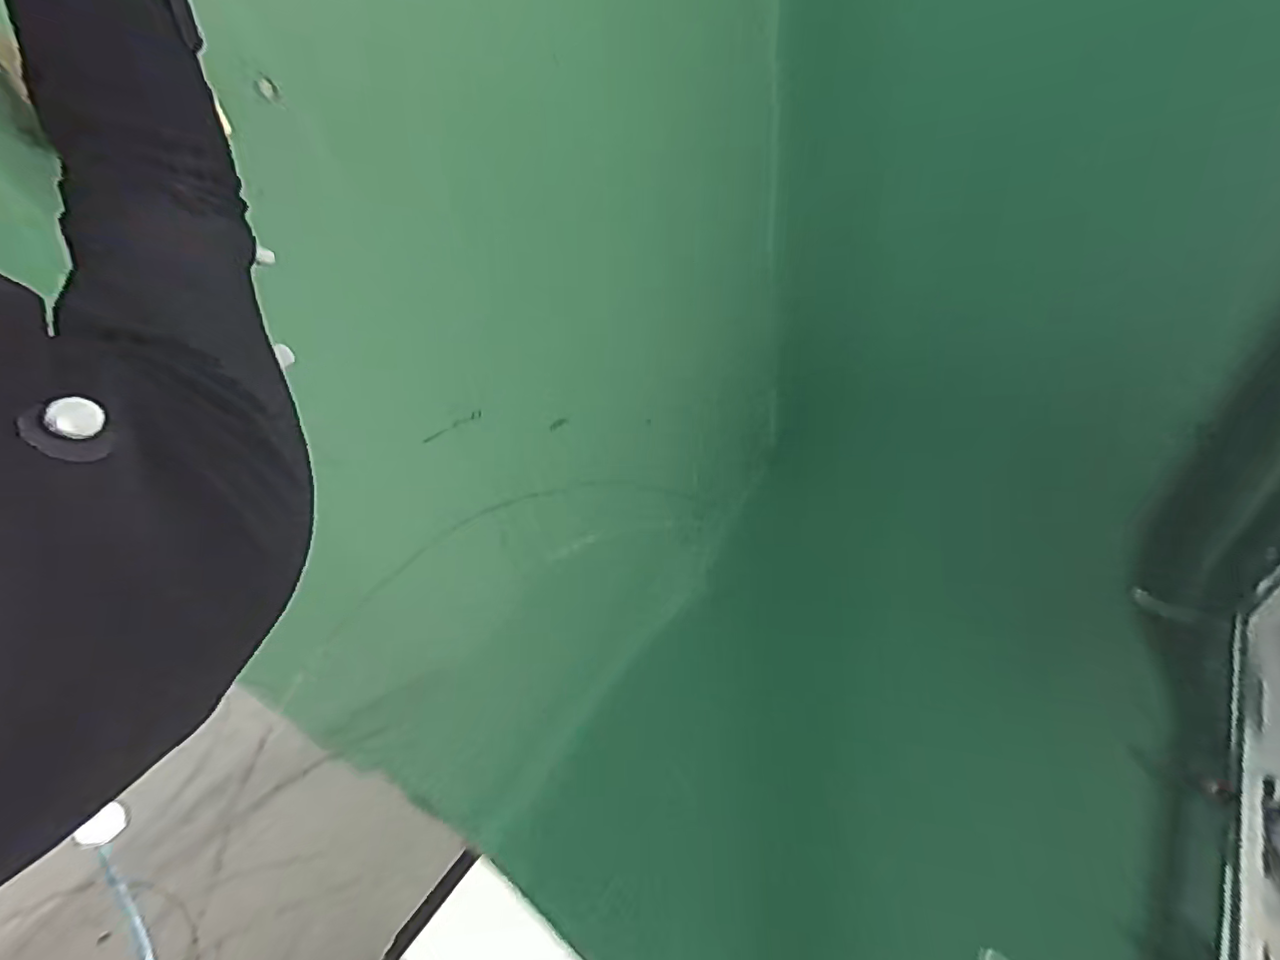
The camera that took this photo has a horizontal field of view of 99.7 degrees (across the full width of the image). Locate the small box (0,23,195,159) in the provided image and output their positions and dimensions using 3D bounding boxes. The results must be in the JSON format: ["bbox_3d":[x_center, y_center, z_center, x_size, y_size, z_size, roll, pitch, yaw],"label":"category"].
[{"bbox_3d":[-0.924,-0.655,0.919,0.179,0.176,0.168,-42,139,-35],"label":"small box"}]
